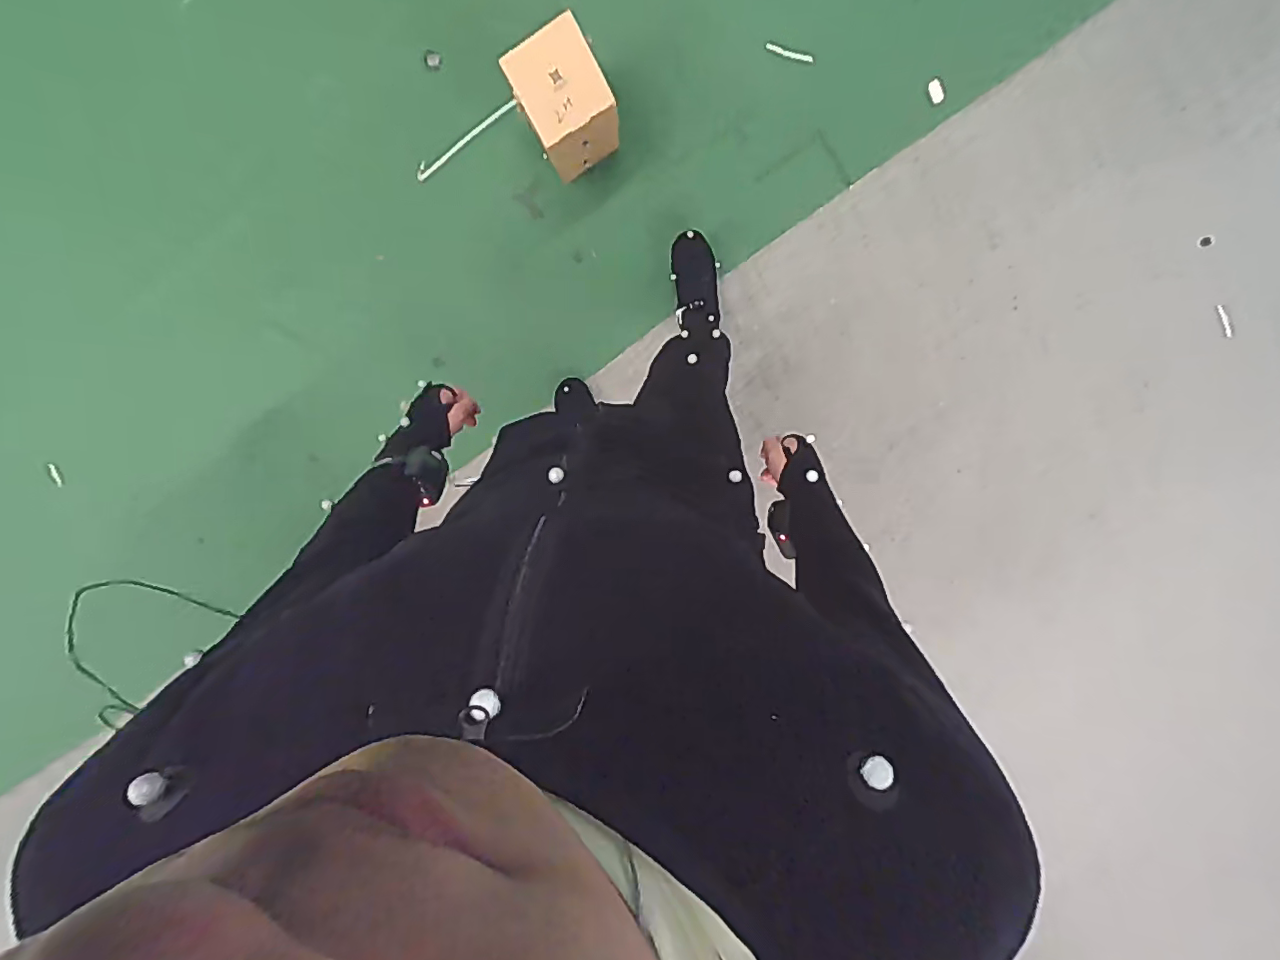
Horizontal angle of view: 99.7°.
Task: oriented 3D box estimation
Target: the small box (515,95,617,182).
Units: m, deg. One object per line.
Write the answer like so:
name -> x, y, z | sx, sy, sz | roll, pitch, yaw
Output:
small box -> -0.166, -0.844, 1.276 | 0.168, 0.176, 0.179 | -30, 106, 9

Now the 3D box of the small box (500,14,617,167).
small box -> -0.160, -0.791, 1.121 | 0.168, 0.176, 0.179 | -28, 107, 9
